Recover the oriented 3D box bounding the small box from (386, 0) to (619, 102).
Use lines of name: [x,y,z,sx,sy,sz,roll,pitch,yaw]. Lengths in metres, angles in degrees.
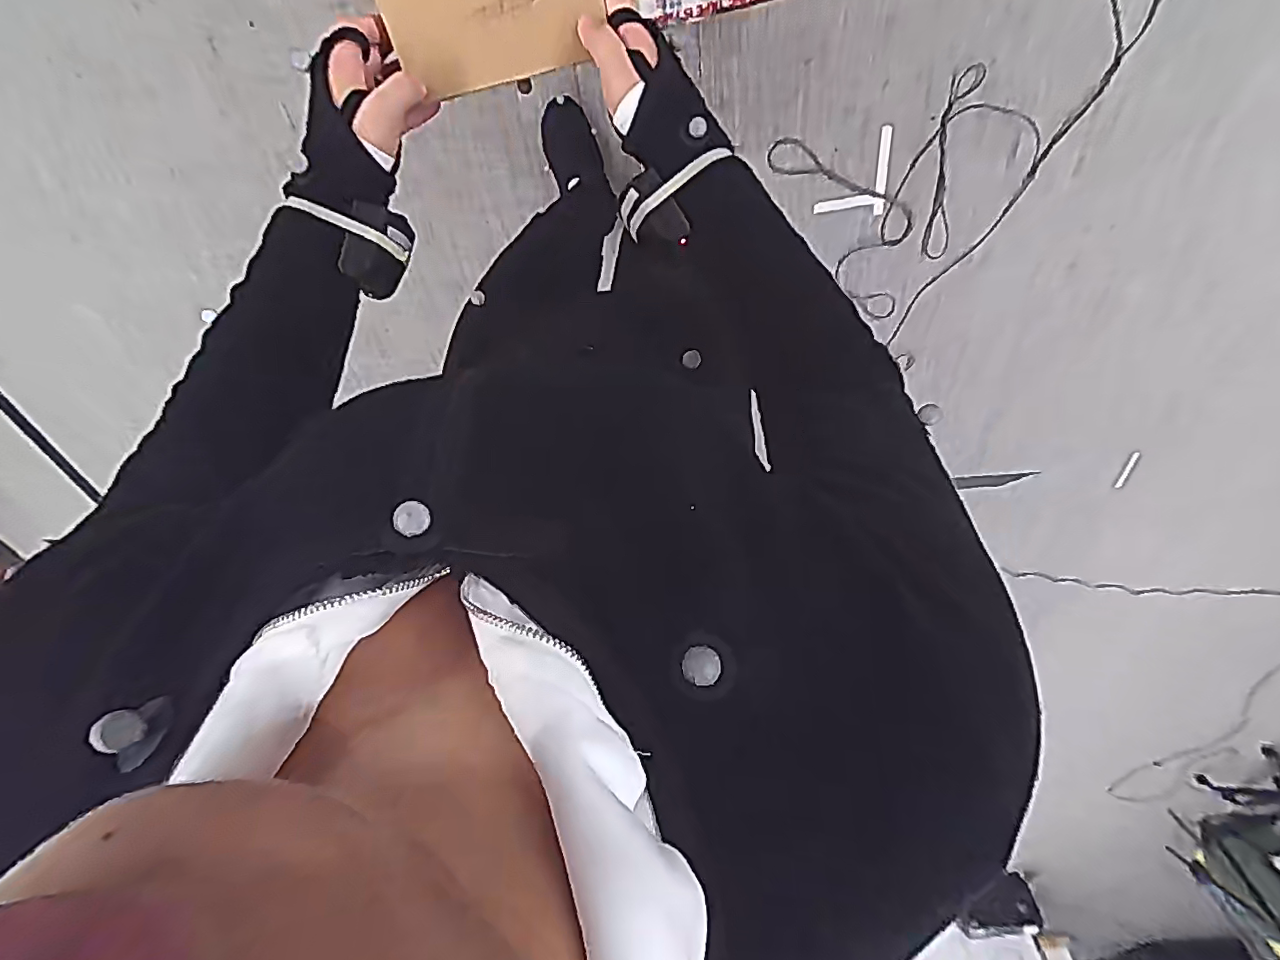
small box: [-0.118,-0.440,0.441,0.168,0.176,0.179,-11,131,6]
